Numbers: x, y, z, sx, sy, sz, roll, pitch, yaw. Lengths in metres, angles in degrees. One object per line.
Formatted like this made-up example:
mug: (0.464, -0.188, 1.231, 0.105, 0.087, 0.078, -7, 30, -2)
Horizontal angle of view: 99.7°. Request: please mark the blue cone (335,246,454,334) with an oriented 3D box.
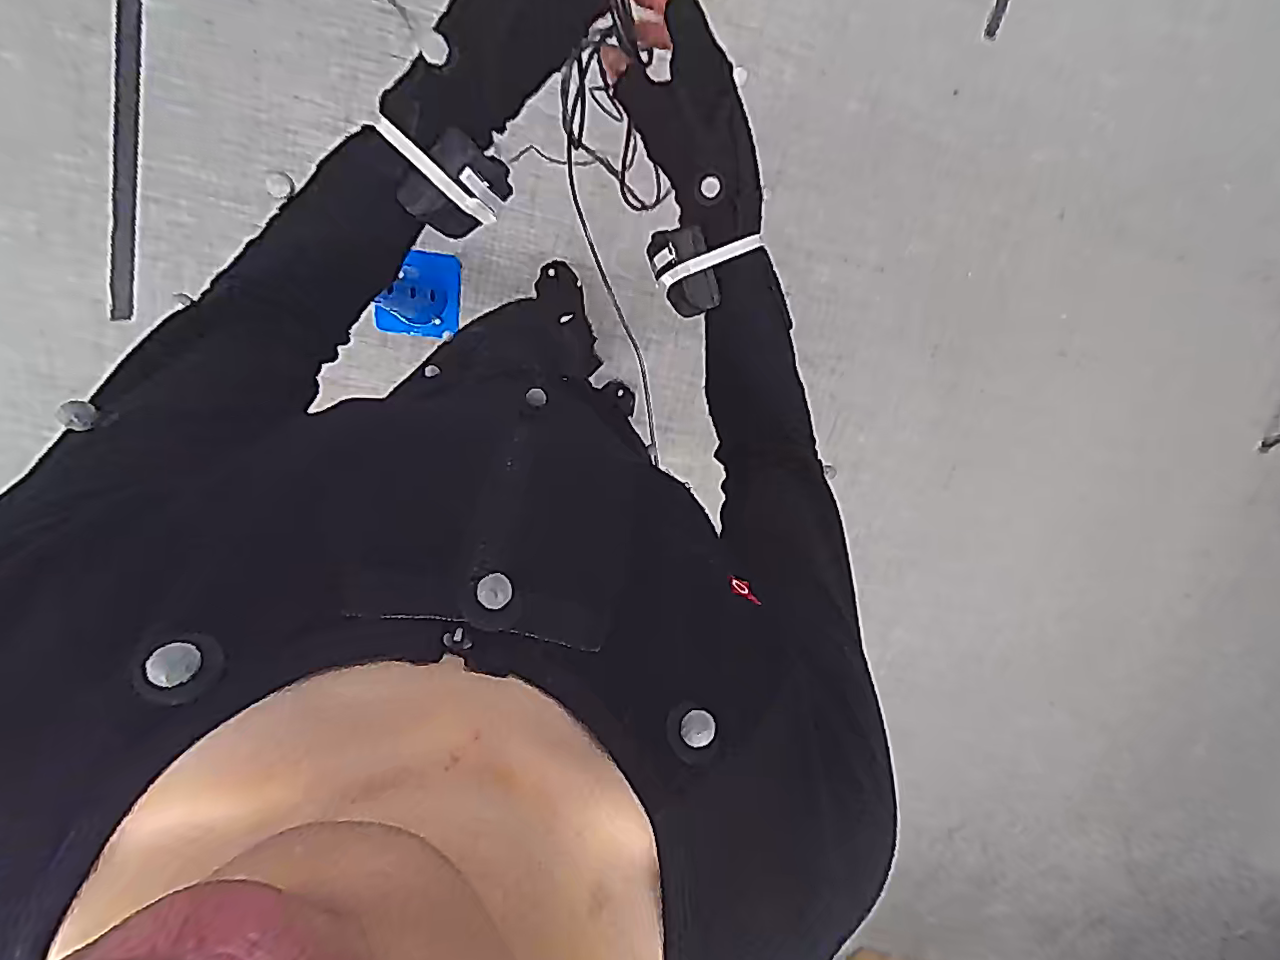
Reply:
blue cone: (-0.537, -0.413, 1.154, 0.192, 0.380, 0.193, 7, 105, -7)
